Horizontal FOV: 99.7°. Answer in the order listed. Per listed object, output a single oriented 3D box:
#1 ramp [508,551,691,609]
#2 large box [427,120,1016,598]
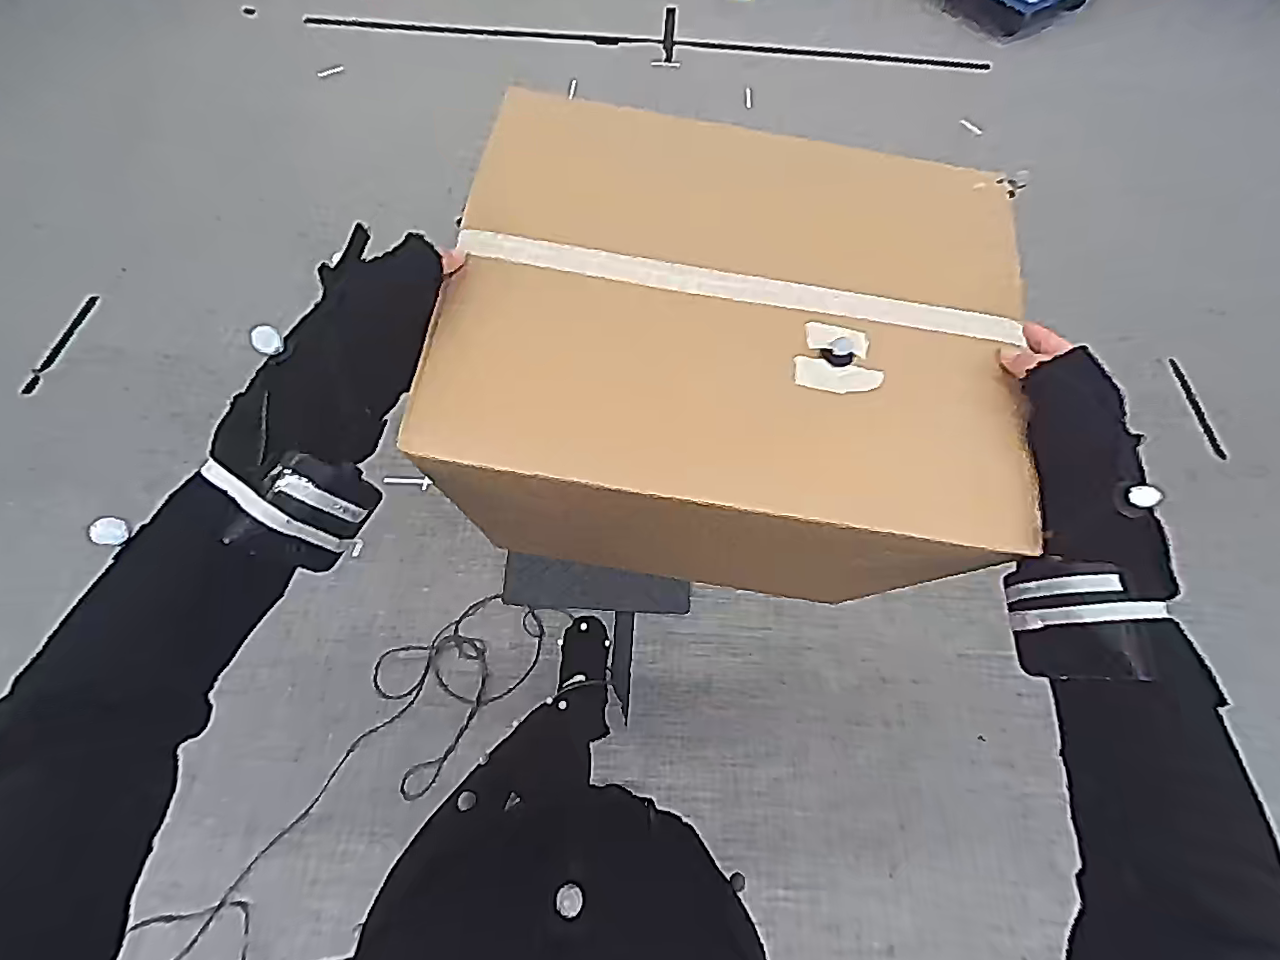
[{"bbox_3d":[-0.083,-0.146,1.566,0.509,0.206,0.991,2,64,-3],"label":"ramp"},{"bbox_3d":[0.064,-0.079,0.542,0.408,0.320,0.320,10,72,-1],"label":"large box"}]
